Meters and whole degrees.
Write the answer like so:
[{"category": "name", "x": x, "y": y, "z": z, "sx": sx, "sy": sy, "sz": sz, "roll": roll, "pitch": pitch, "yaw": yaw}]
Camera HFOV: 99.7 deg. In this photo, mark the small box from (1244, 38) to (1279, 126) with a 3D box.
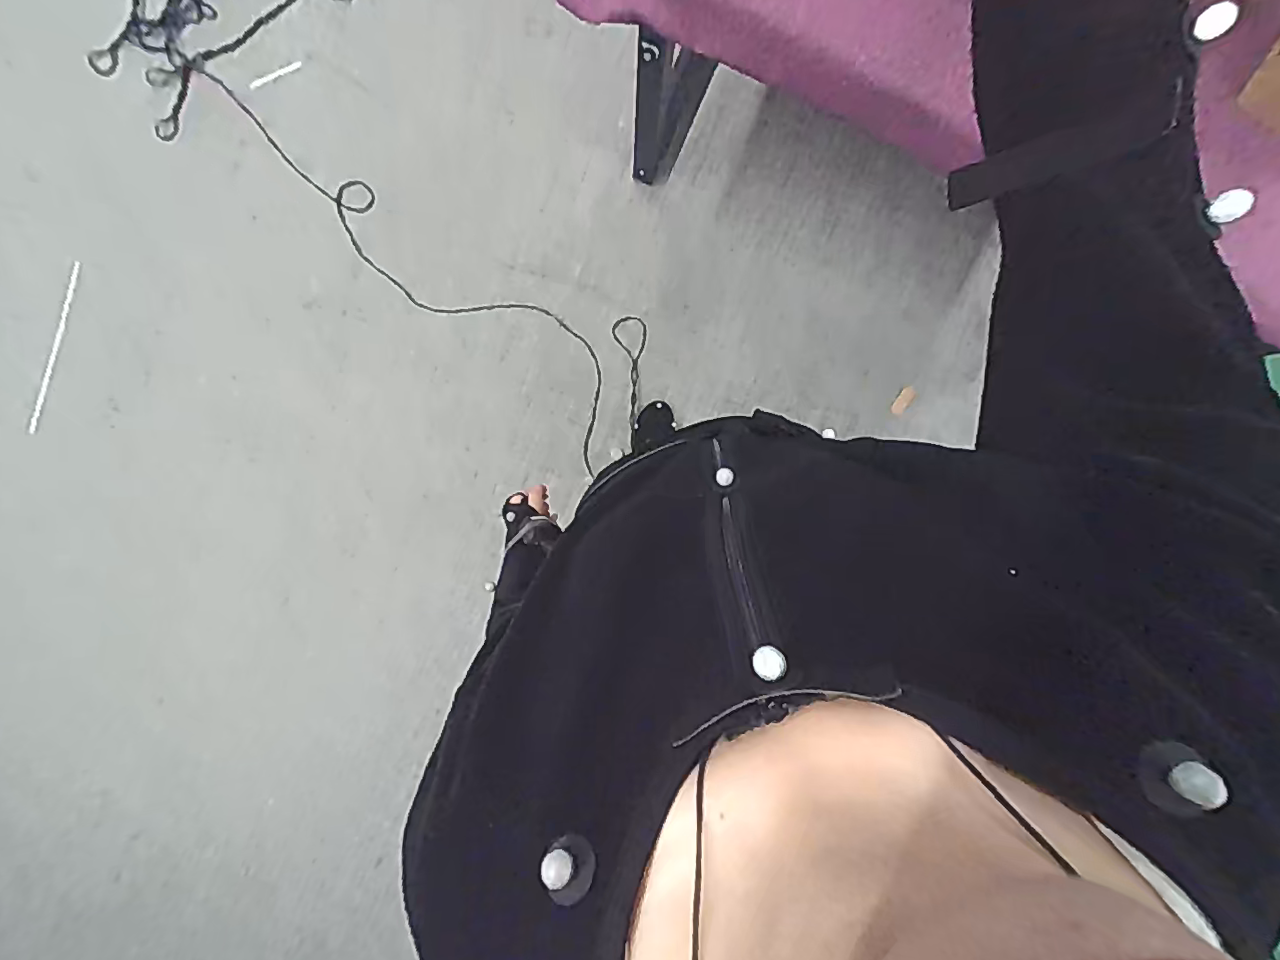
[{"category": "small box", "x": 0.909, "y": -0.519, "z": 0.635, "sx": 0.179, "sy": 0.176, "sz": 0.168, "roll": 33, "pitch": 95, "yaw": -5}]
